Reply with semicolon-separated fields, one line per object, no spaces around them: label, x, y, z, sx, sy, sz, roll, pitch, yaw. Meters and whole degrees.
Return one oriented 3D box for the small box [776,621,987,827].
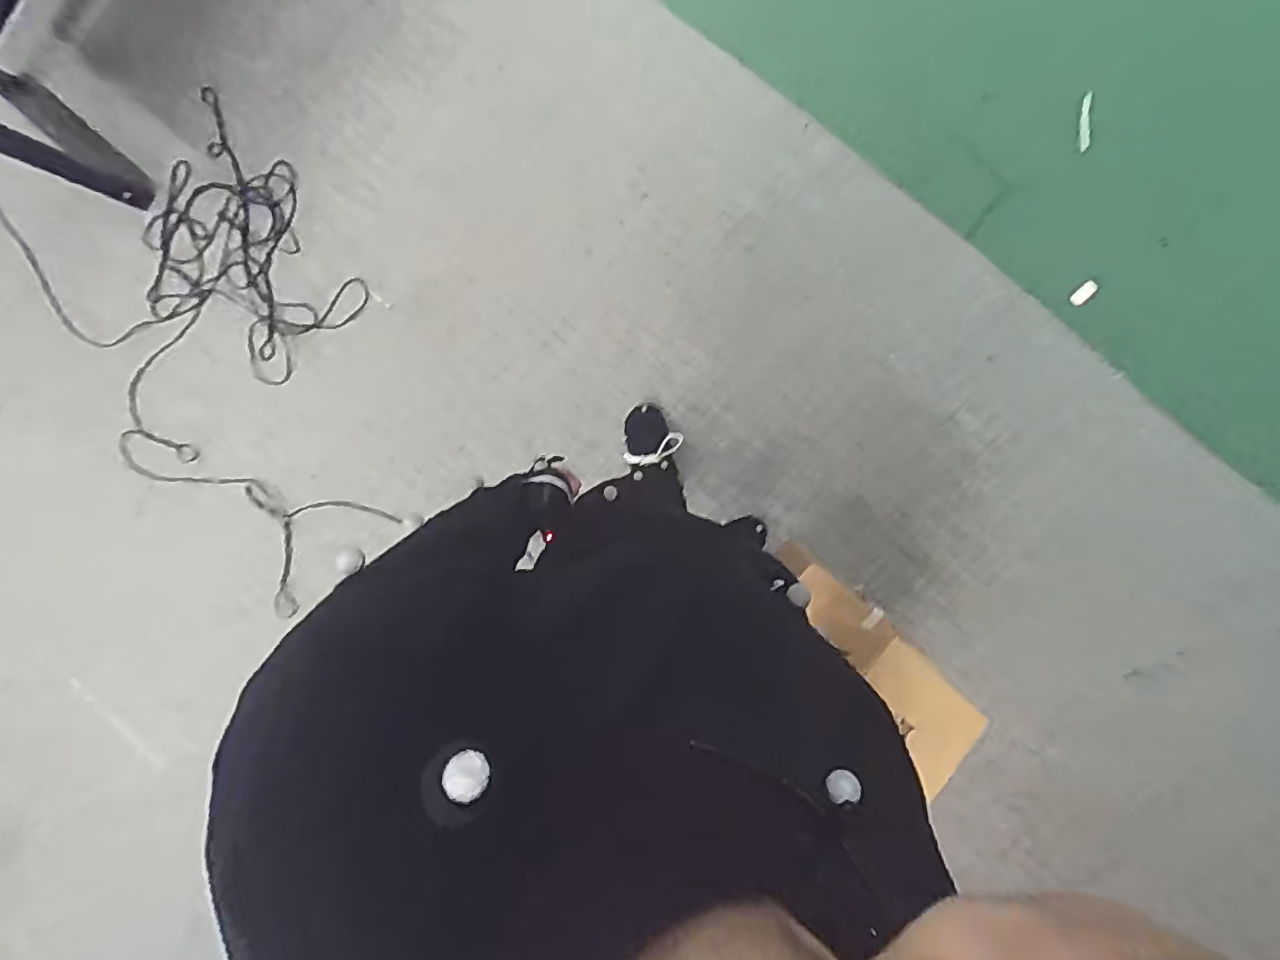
small box;0.320;0.320;0.754;0.168;0.176;0.179;42;82;1

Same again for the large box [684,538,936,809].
large box;0.346;0.396;1.201;0.320;0.320;0.408;40;99;4
